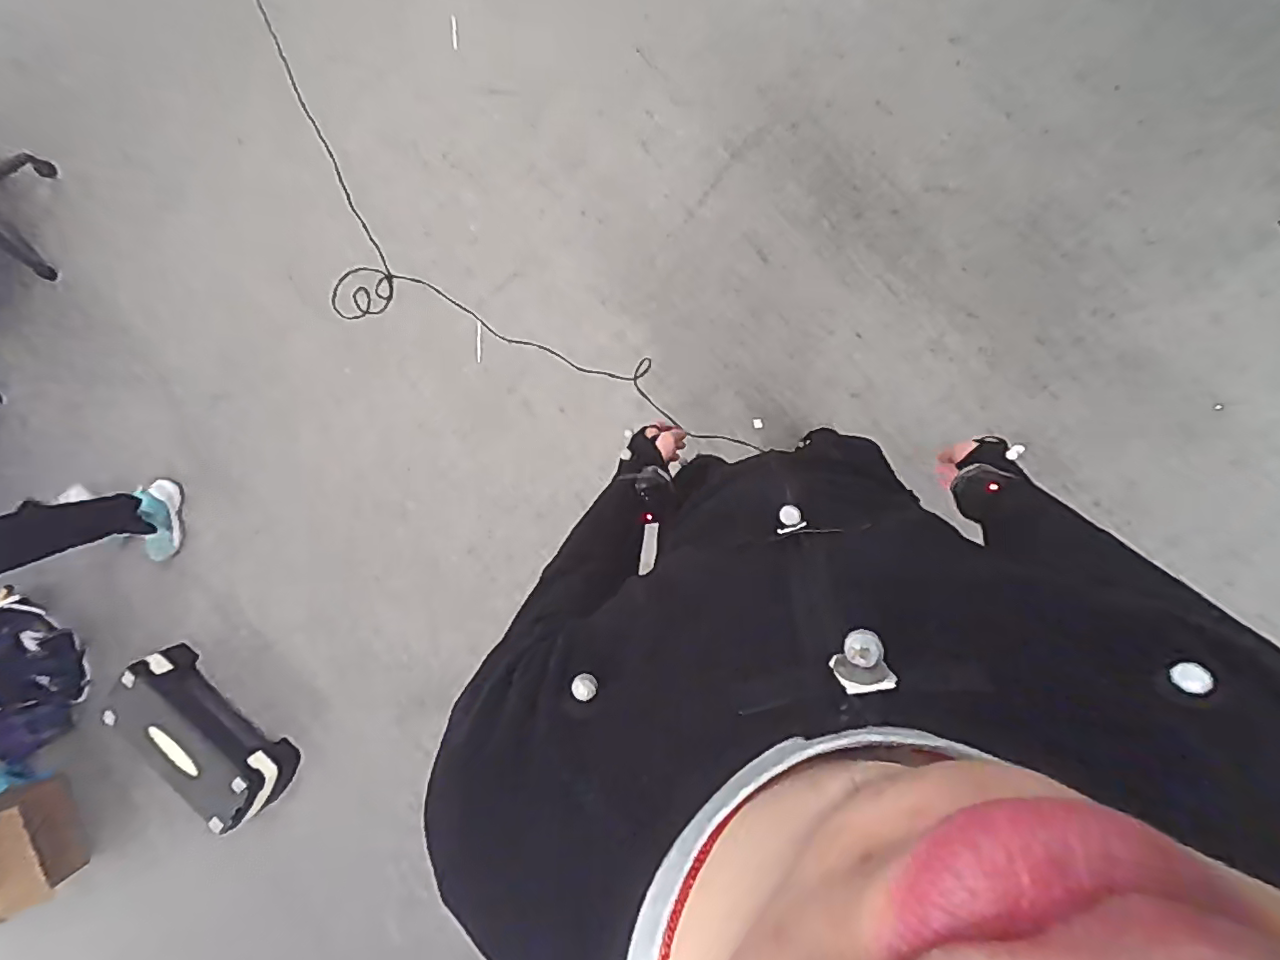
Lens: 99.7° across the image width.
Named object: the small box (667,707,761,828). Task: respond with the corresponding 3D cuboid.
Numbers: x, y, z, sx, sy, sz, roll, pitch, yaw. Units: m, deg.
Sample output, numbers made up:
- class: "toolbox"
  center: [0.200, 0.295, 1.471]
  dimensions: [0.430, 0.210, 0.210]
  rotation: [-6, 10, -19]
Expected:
- class: "small box"
  center: [0.198, 0.729, 1.390]
  dimensions: [0.168, 0.176, 0.179]
  rotation: [38, 102, 8]
